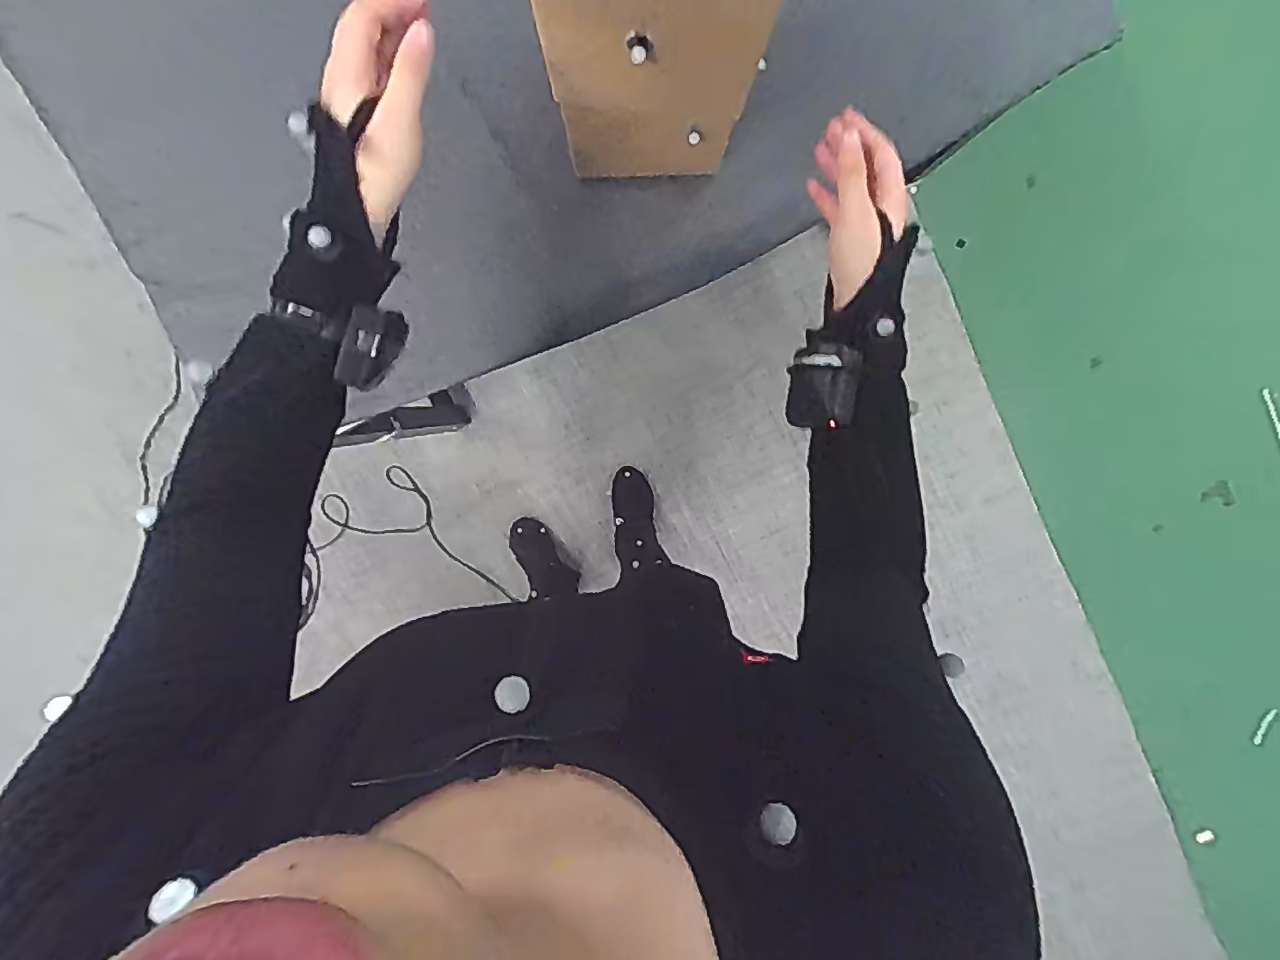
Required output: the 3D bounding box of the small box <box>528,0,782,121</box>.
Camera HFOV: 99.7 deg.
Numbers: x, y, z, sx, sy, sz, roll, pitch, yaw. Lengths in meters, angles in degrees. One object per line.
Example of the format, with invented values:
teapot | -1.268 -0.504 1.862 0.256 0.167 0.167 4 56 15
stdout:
small box | 0.015 -0.410 0.415 0.179 0.176 0.168 5 96 -1
